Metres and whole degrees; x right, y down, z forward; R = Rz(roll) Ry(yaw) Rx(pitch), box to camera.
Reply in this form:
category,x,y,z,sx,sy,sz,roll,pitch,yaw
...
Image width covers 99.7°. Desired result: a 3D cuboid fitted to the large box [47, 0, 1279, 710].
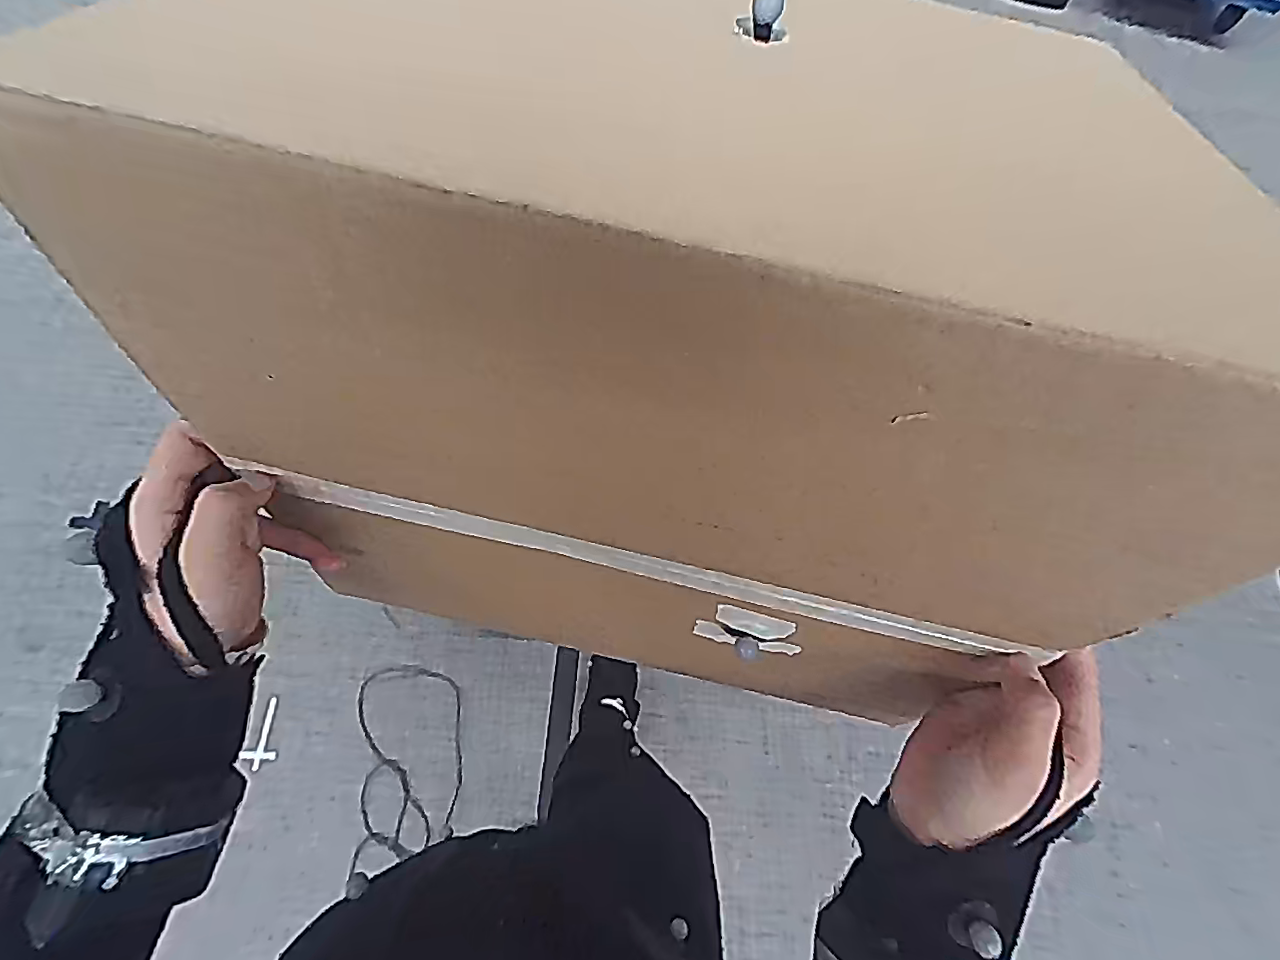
category,x,y,z,sx,sy,sz,roll,pitch,yaw
large box,0.029,-0.084,0.356,0.408,0.320,0.320,13,55,1
